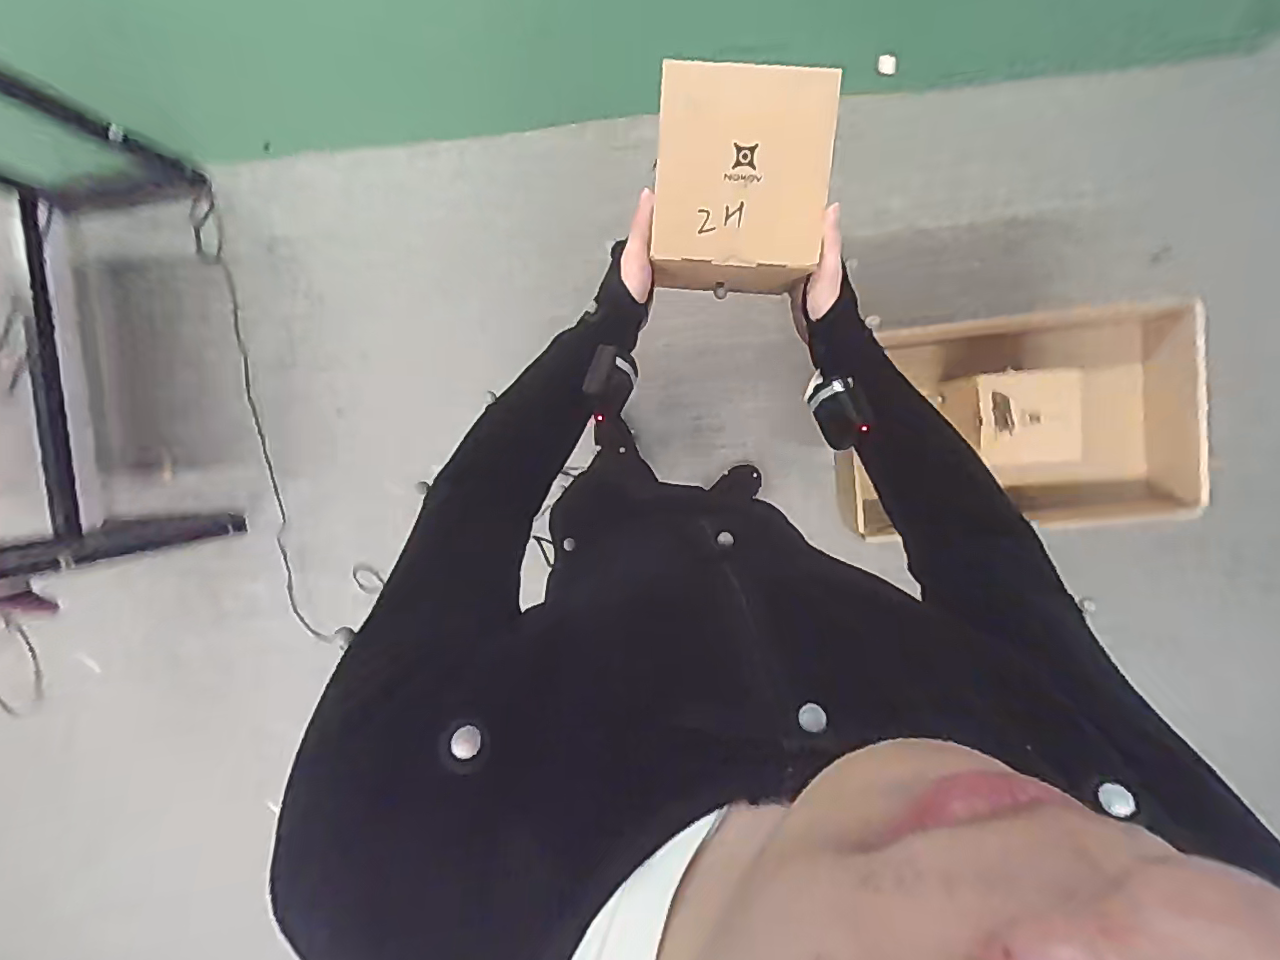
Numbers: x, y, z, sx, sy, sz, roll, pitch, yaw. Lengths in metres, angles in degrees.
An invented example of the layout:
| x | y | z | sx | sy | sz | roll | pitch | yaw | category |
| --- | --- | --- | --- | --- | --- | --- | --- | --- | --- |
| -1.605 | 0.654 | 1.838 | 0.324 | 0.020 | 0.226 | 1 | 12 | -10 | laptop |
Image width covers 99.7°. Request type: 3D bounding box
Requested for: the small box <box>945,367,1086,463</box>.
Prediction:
| x | y | z | sx | sy | sz | roll | pitch | yaw | category |
| --- | --- | --- | --- | --- | --- | --- | --- | --- | --- |
| 0.714 | -0.120 | 1.048 | 0.179 | 0.176 | 0.168 | -4 | 94 | 5 | small box |

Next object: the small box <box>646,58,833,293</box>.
| x | y | z | sx | sy | sz | roll | pitch | yaw | category |
| --- | --- | --- | --- | --- | --- | --- | --- | --- | --- |
| 0.093 | -0.309 | 0.583 | 0.168 | 0.176 | 0.179 | 3 | 101 | 2 | small box |
